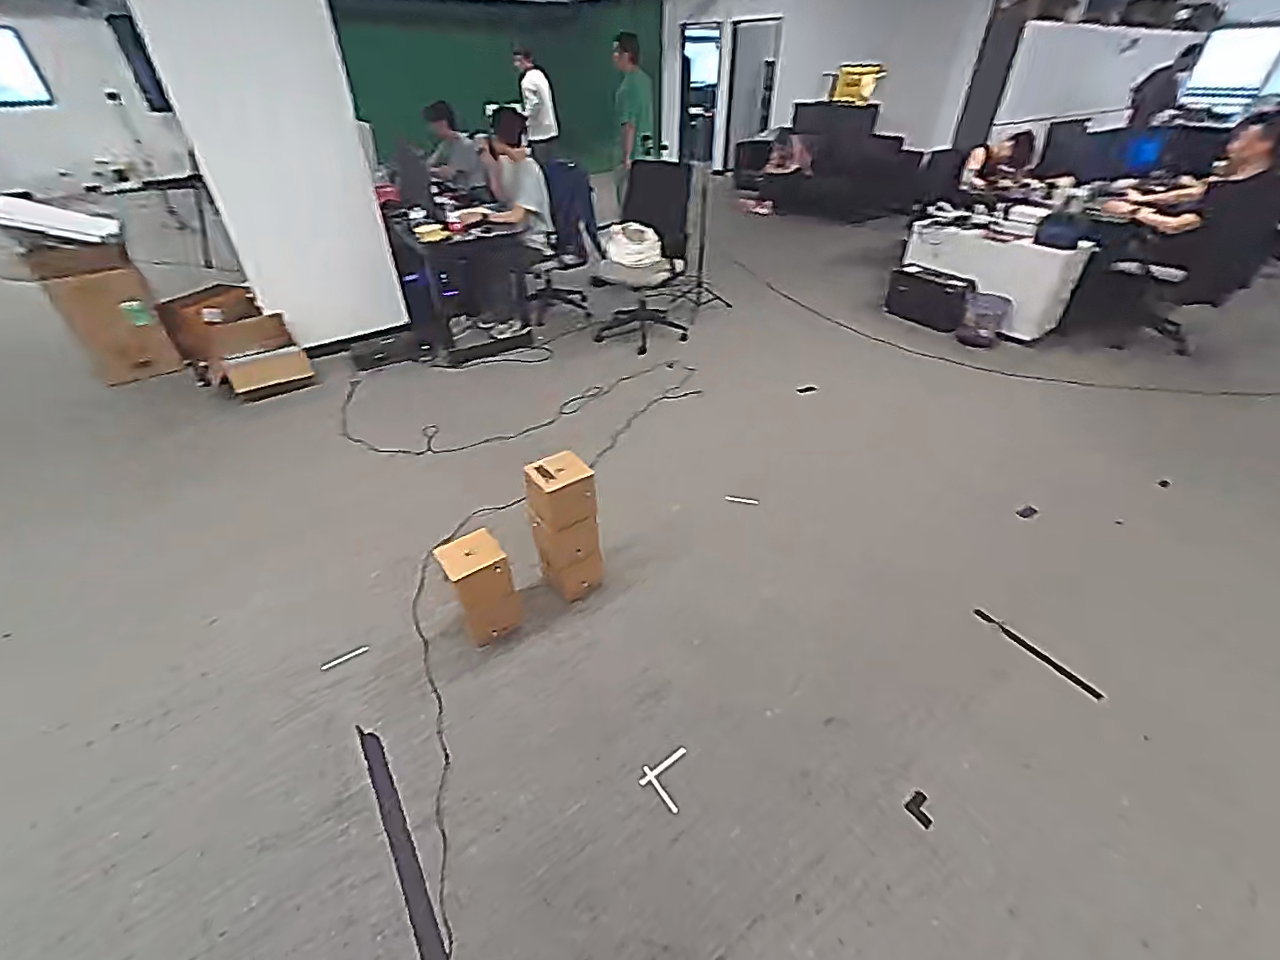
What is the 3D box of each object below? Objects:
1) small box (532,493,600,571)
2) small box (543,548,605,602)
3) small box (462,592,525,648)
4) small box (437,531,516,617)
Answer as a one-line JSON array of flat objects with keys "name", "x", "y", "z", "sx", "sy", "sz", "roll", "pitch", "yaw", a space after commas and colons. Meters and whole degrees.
[{"name": "small box", "x": -0.251, "y": 0.180, "z": 1.863, "sx": 0.179, "sy": 0.176, "sz": 0.168, "roll": -25, "pitch": 43, "yaw": -29}, {"name": "small box", "x": -0.243, "y": 0.310, "z": 1.964, "sx": 0.168, "sy": 0.176, "sz": 0.179, "roll": -25, "pitch": 44, "yaw": -28}, {"name": "small box", "x": -0.505, "y": 0.427, "z": 1.819, "sx": 0.168, "sy": 0.176, "sz": 0.179, "roll": -23, "pitch": 43, "yaw": -25}, {"name": "small box", "x": -0.513, "y": 0.301, "z": 1.716, "sx": 0.179, "sy": 0.176, "sz": 0.168, "roll": -25, "pitch": 43, "yaw": -28}]
